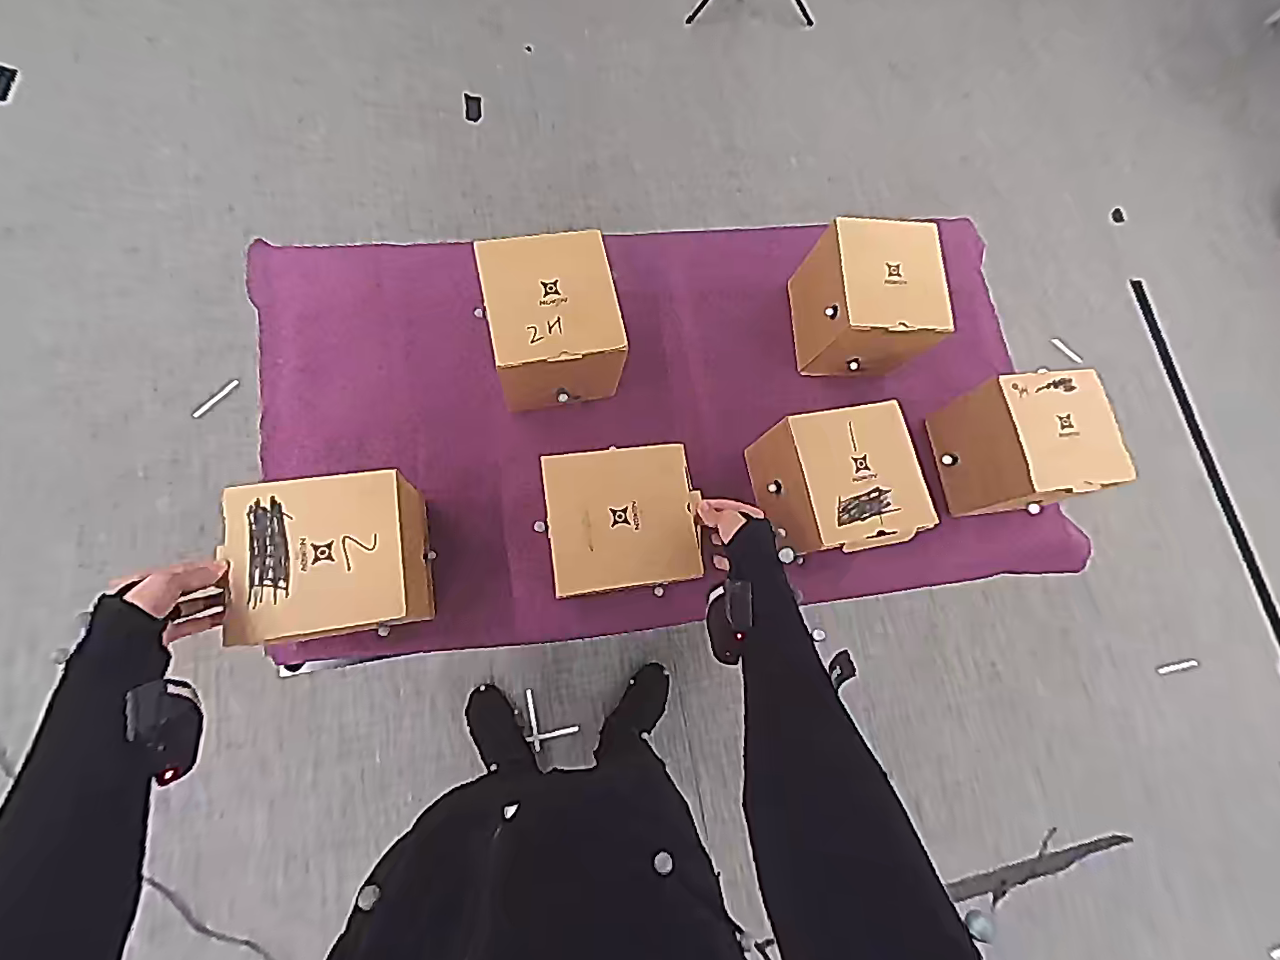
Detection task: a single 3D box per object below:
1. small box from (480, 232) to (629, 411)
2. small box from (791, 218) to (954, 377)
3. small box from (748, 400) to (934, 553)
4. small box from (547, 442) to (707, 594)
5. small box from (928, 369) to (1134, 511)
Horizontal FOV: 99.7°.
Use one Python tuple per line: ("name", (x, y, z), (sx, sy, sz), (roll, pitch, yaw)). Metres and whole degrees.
("small box", (-0.123, -0.216, 0.765), (0.168, 0.176, 0.179), (-11, 79, -11))
("small box", (0.353, -0.279, 0.855), (0.168, 0.176, 0.179), (-1, 78, -9))
("small box", (0.272, 0.005, 0.771), (0.168, 0.176, 0.179), (-9, 77, -11))
("small box", (-0.028, 0.056, 0.711), (0.179, 0.176, 0.168), (-6, 78, -10))
("small box", (0.584, -0.053, 0.832), (0.168, 0.176, 0.179), (-5, 76, -10))
